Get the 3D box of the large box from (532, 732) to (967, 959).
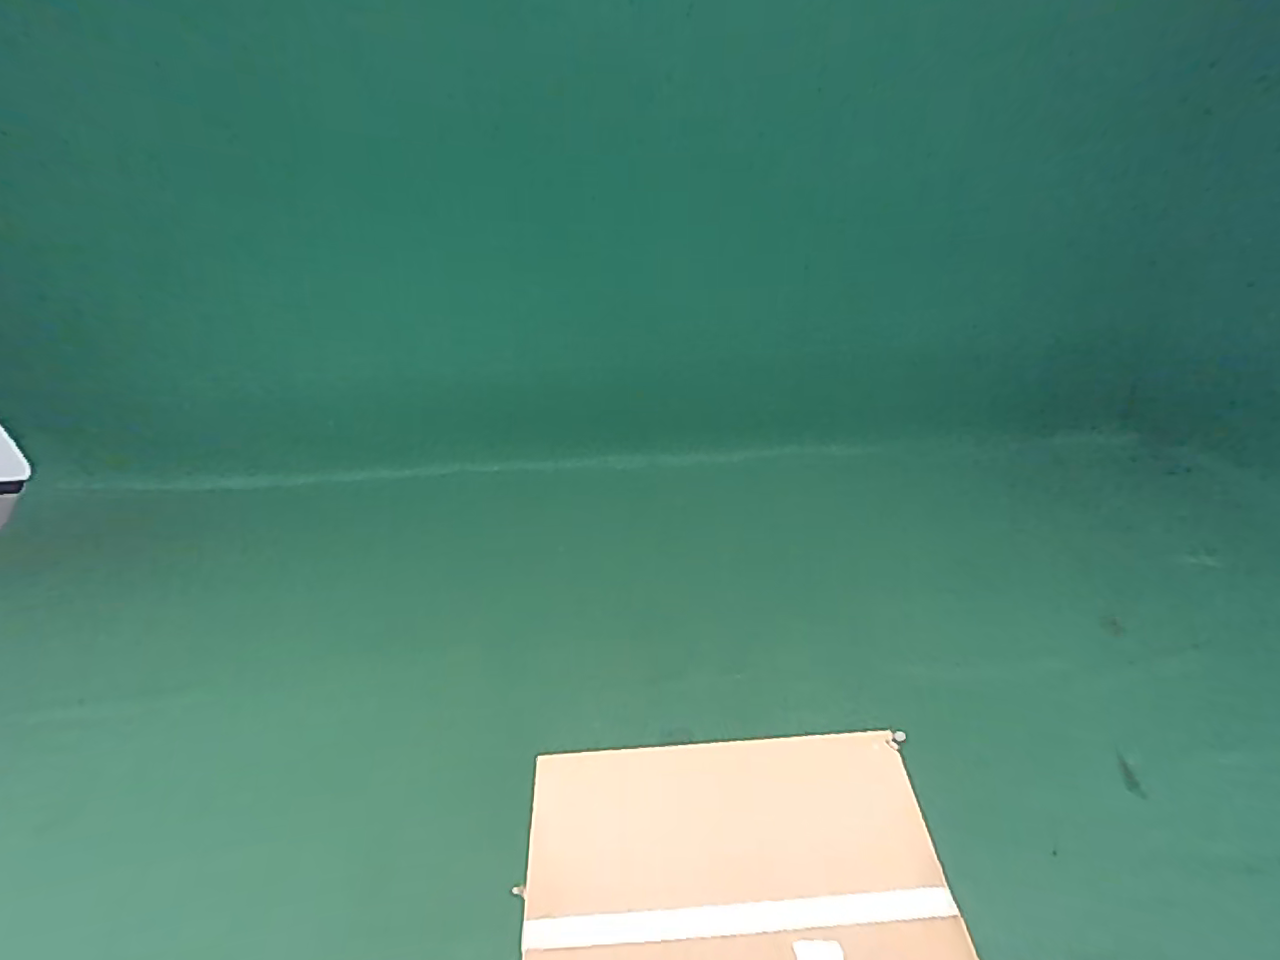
[{"bbox_3d":[0.100,0.521,0.619,0.408,0.320,0.320,-4,46,-1],"label":"large box"}]
